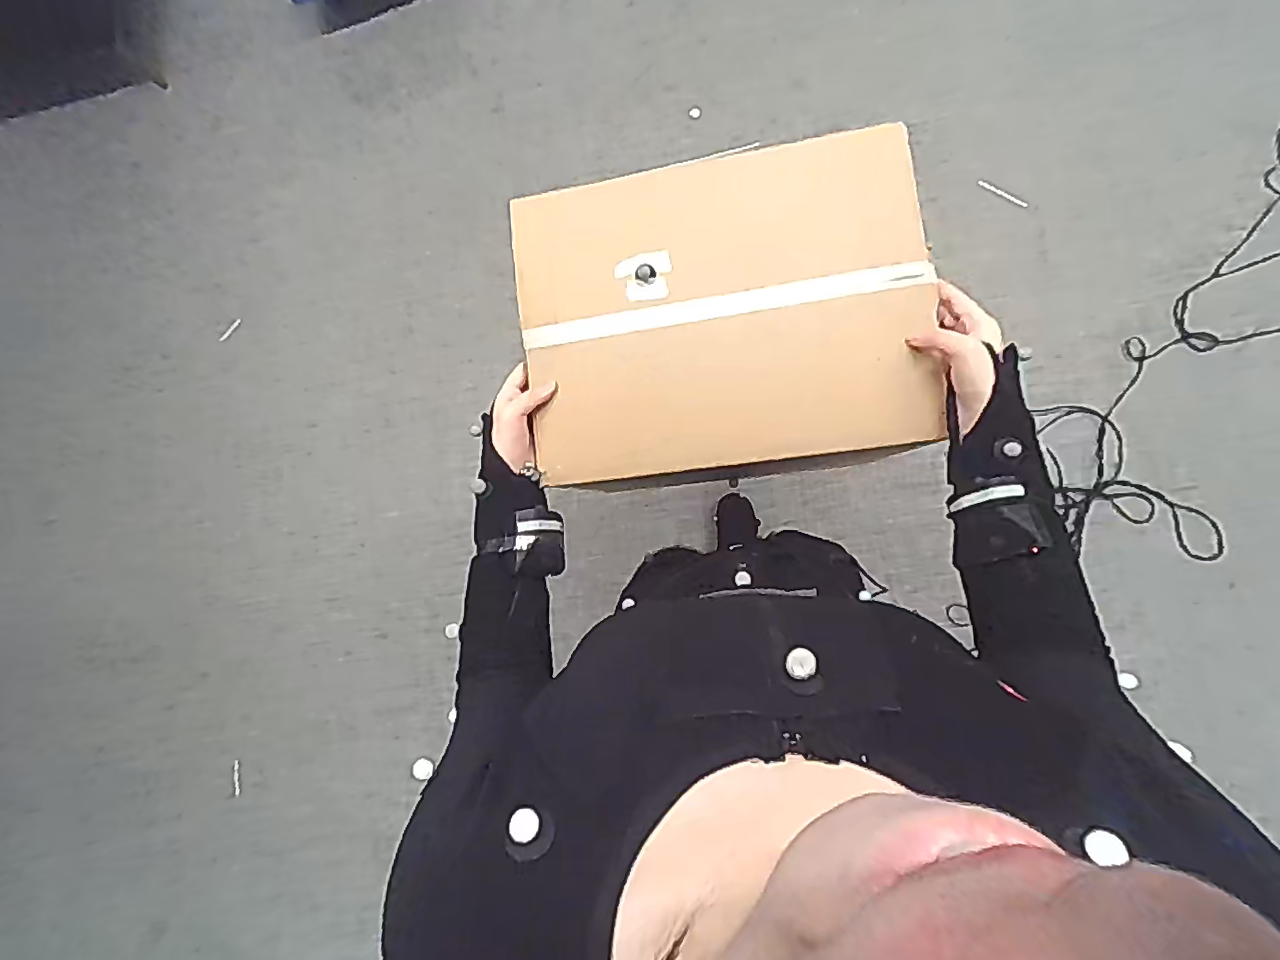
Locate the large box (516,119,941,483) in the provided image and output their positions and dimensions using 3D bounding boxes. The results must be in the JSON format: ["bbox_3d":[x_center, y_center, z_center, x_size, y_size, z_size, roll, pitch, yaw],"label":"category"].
[{"bbox_3d":[0.102,-0.173,0.700,0.408,0.320,0.320,-7,86,10],"label":"large box"}]
